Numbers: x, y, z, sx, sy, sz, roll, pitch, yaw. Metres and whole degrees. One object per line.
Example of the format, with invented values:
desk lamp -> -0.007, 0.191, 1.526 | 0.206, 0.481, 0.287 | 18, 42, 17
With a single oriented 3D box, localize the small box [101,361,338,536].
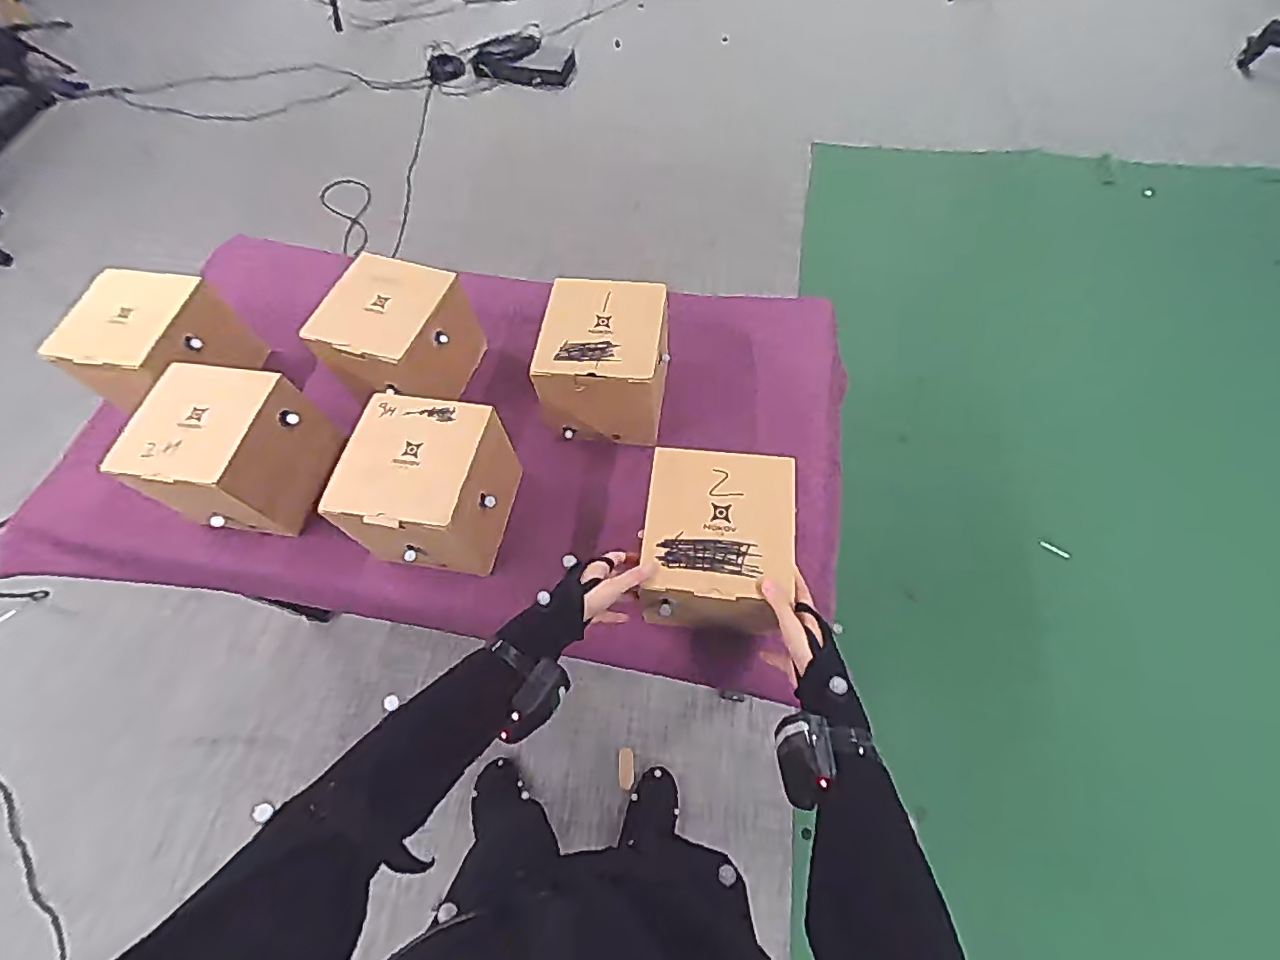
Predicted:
small box -> -0.567, -0.040, 0.765 | 0.168, 0.176, 0.179 | 7, 63, 7

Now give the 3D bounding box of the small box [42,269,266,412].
small box -> -0.747, -0.203, 0.861 | 0.168, 0.176, 0.179 | 7, 64, 6

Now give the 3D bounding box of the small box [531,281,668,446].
small box -> -0.048, -0.168, 0.807 | 0.168, 0.176, 0.179 | 6, 62, 6

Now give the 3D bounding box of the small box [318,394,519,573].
small box -> -0.276, 0.011, 0.724 | 0.168, 0.176, 0.179 | 8, 62, 7
